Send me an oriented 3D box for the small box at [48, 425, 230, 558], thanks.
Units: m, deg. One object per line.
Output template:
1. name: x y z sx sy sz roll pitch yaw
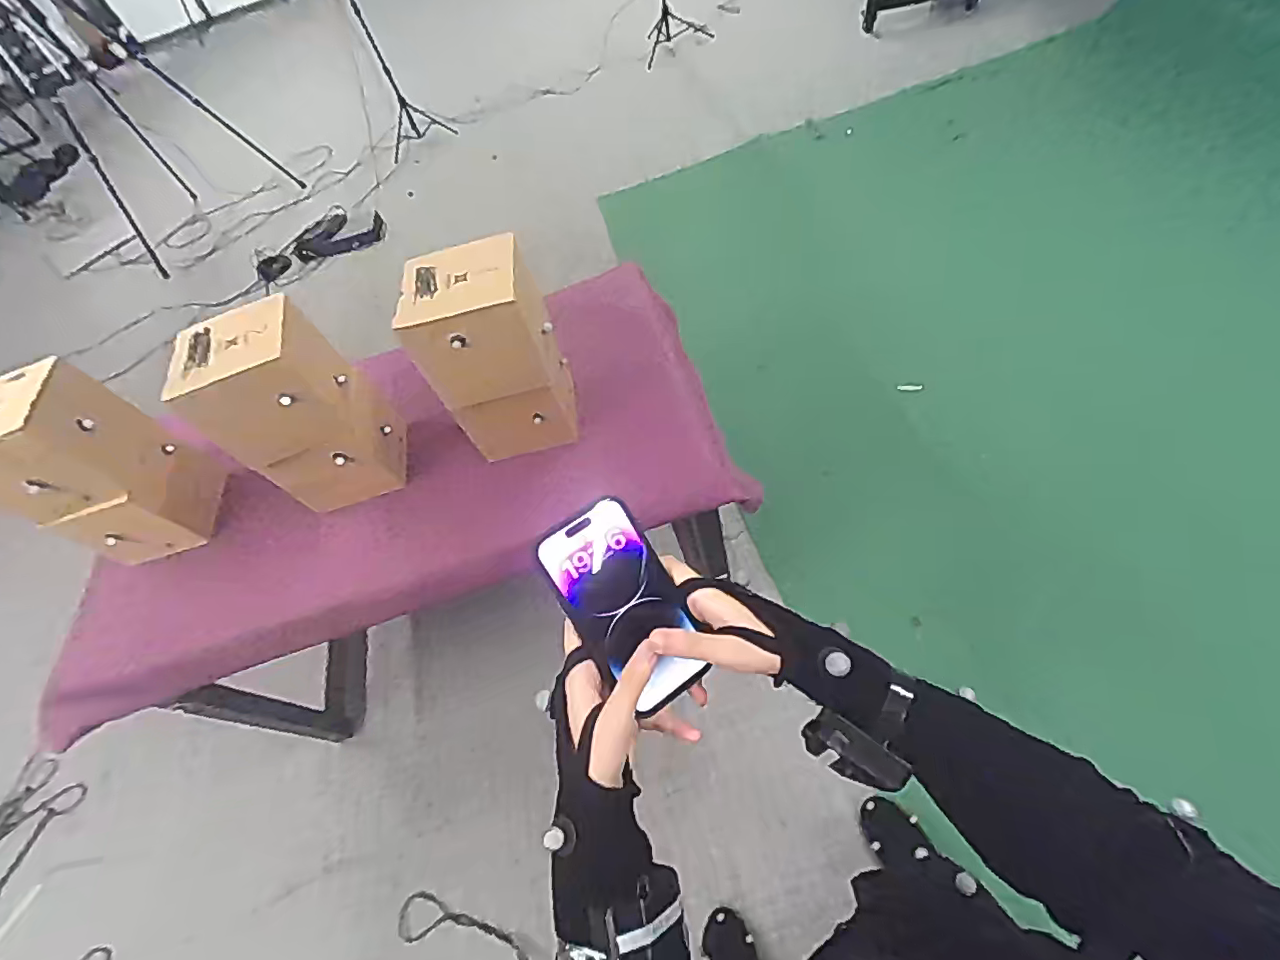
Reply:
1. small box: -0.926 0.030 1.022 0.168 0.176 0.179 -17 55 2

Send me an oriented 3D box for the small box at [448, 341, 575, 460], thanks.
1. small box: -0.221 -0.159 0.977 0.179 0.176 0.168 -12 55 6

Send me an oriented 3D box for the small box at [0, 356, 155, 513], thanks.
1. small box: -0.961 -0.065 0.892 0.168 0.176 0.179 -21 56 -1

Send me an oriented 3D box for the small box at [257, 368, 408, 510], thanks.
1. small box: -0.549 -0.070 0.995 0.179 0.176 0.168 -17 55 2

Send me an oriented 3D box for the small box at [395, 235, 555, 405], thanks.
1. small box: -0.242 -0.238 0.834 0.179 0.176 0.168 -12 55 5
